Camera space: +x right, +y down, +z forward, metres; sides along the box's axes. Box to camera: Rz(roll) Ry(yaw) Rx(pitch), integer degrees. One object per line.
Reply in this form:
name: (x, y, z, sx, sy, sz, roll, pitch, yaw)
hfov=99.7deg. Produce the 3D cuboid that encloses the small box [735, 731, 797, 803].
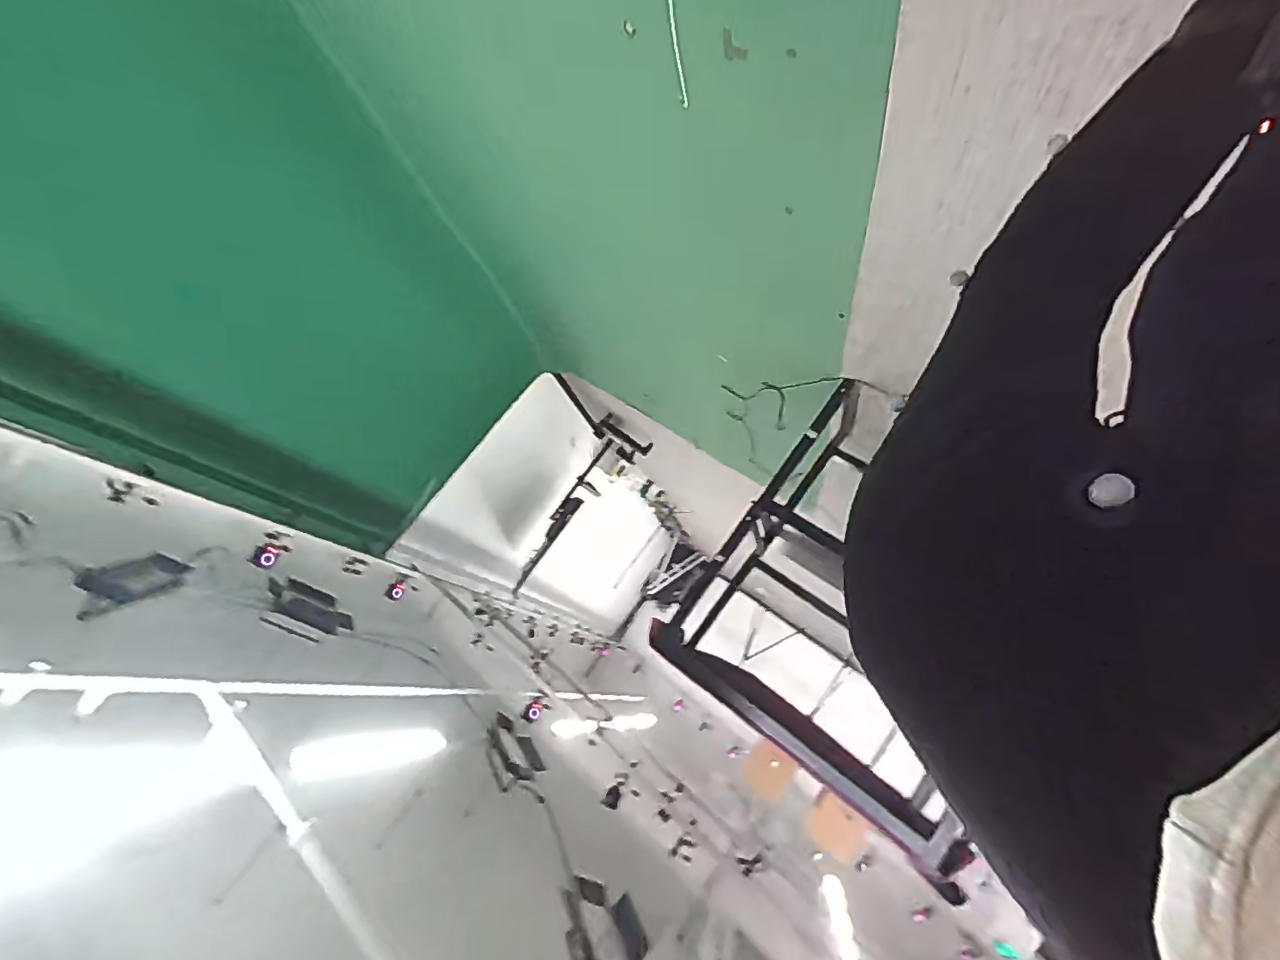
small box: (0.482, 1.084, 2.061, 0.168, 0.176, 0.179, 34, 170, 23)

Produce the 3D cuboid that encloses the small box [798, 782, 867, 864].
small box: (0.692, 1.226, 1.949, 0.168, 0.176, 0.179, 34, 170, 21)
